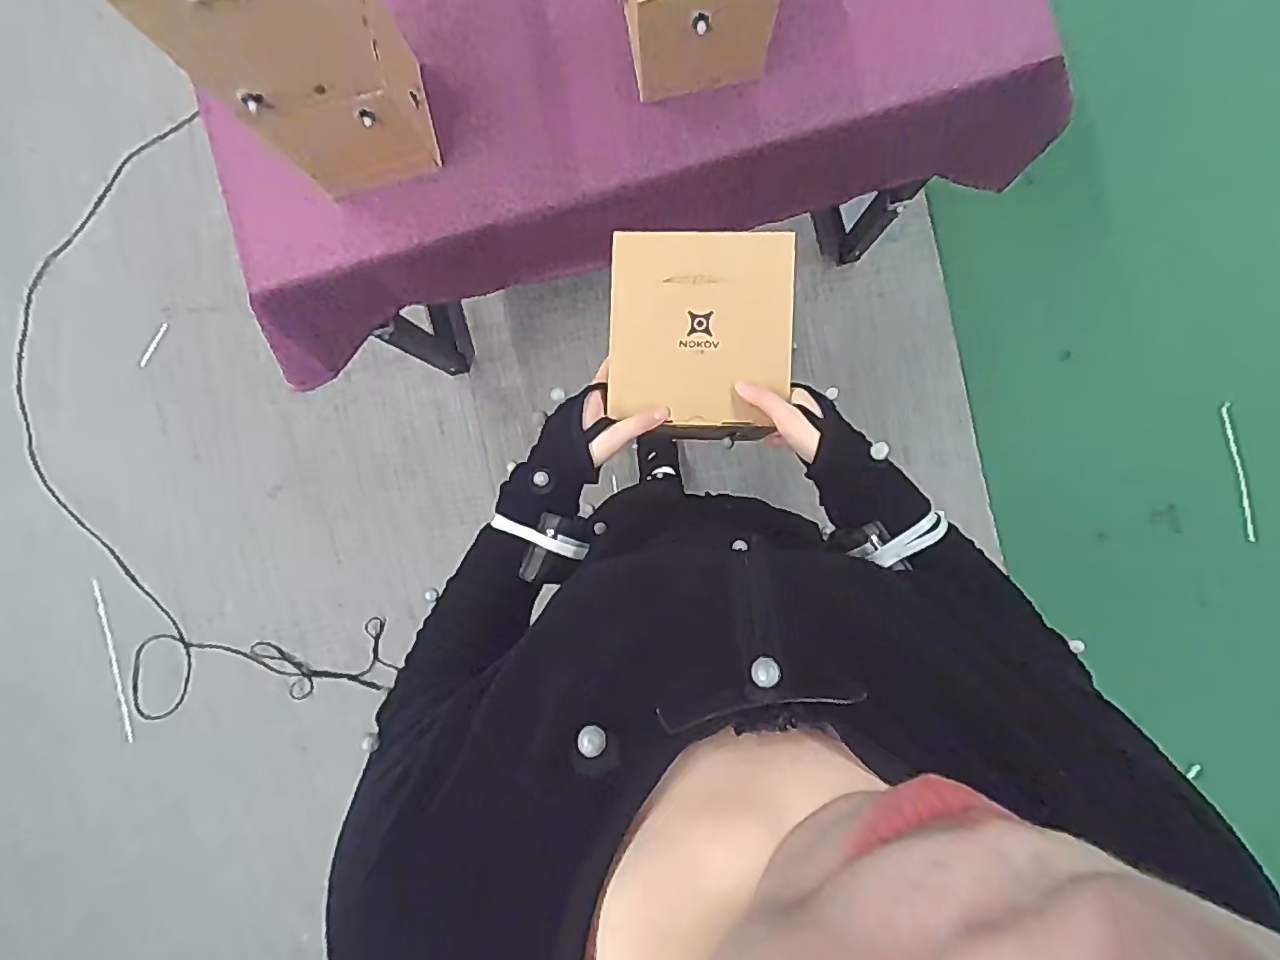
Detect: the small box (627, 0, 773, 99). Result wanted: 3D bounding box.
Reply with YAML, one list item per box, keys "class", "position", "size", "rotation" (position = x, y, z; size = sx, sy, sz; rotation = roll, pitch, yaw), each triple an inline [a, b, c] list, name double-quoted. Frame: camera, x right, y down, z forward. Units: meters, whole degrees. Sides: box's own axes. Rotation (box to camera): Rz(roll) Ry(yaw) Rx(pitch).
- class: "small box"
  position: [0.071, -0.632, 0.693]
  size: [0.179, 0.176, 0.168]
  rotation: [-9, 90, 3]

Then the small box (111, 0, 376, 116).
- class: "small box"
  position: [-0.401, -0.515, 0.554]
  size: [0.168, 0.176, 0.179]
  rotation: [-14, 88, 2]

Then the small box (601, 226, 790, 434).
- class: "small box"
  position: [0.056, -0.142, 0.568]
  size: [0.168, 0.176, 0.179]
  rotation: [3, 90, 4]

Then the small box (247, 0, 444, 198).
- class: "small box"
  position: [-0.391, -0.509, 0.719]
  size: [0.179, 0.176, 0.168]
  rotation: [-14, 89, 2]
